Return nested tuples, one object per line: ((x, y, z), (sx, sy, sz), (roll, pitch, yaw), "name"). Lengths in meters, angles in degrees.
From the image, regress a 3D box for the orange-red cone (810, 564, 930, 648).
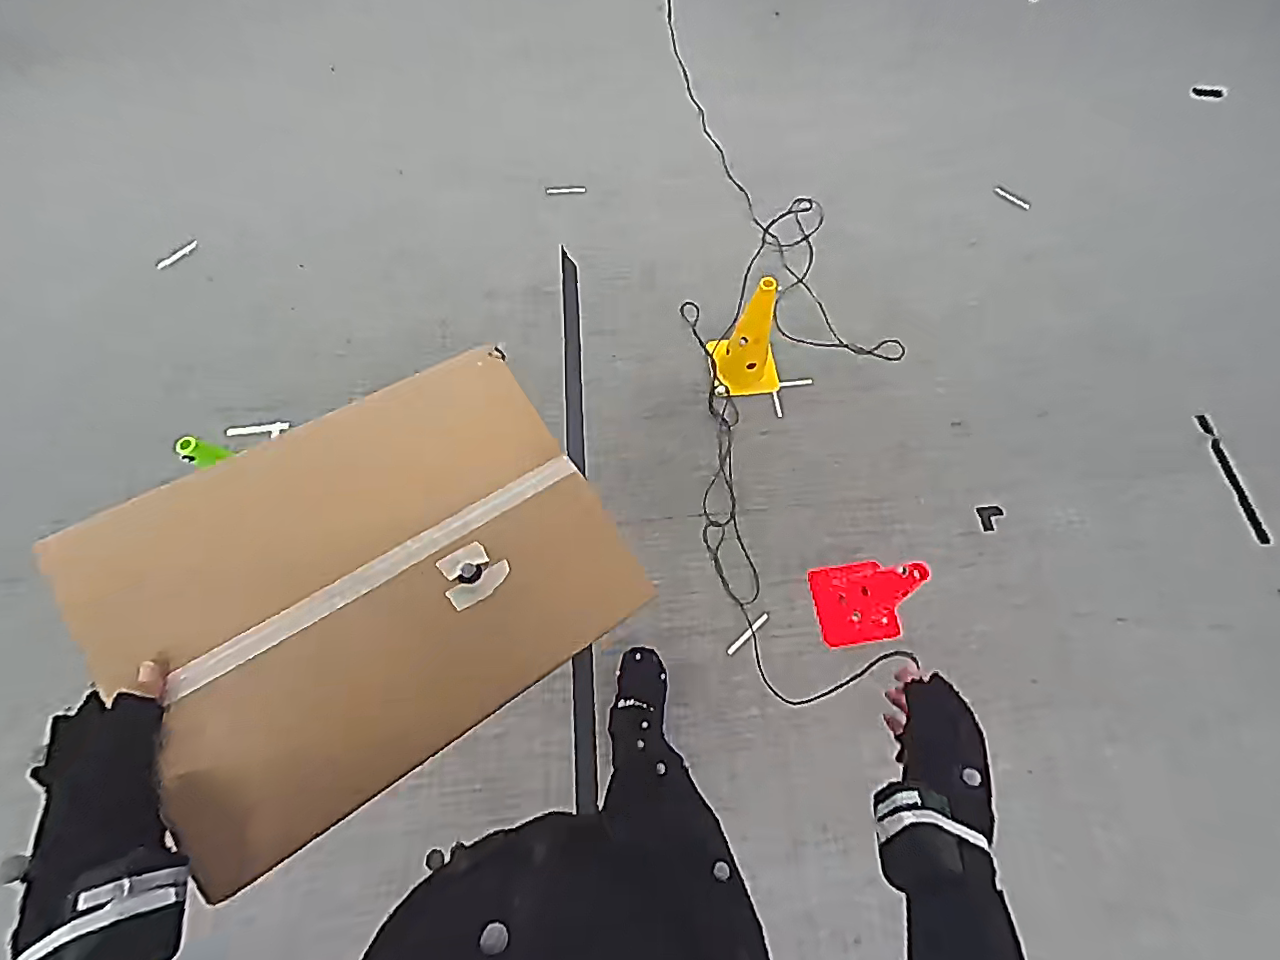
((0.545, 0.250, 1.216), (0.198, 0.360, 0.199), (-6, 66, -4), "orange-red cone")

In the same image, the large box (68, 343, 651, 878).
((-0.259, 0.122, 0.622), (0.408, 0.320, 0.320), (-31, 82, -20), "large box")
